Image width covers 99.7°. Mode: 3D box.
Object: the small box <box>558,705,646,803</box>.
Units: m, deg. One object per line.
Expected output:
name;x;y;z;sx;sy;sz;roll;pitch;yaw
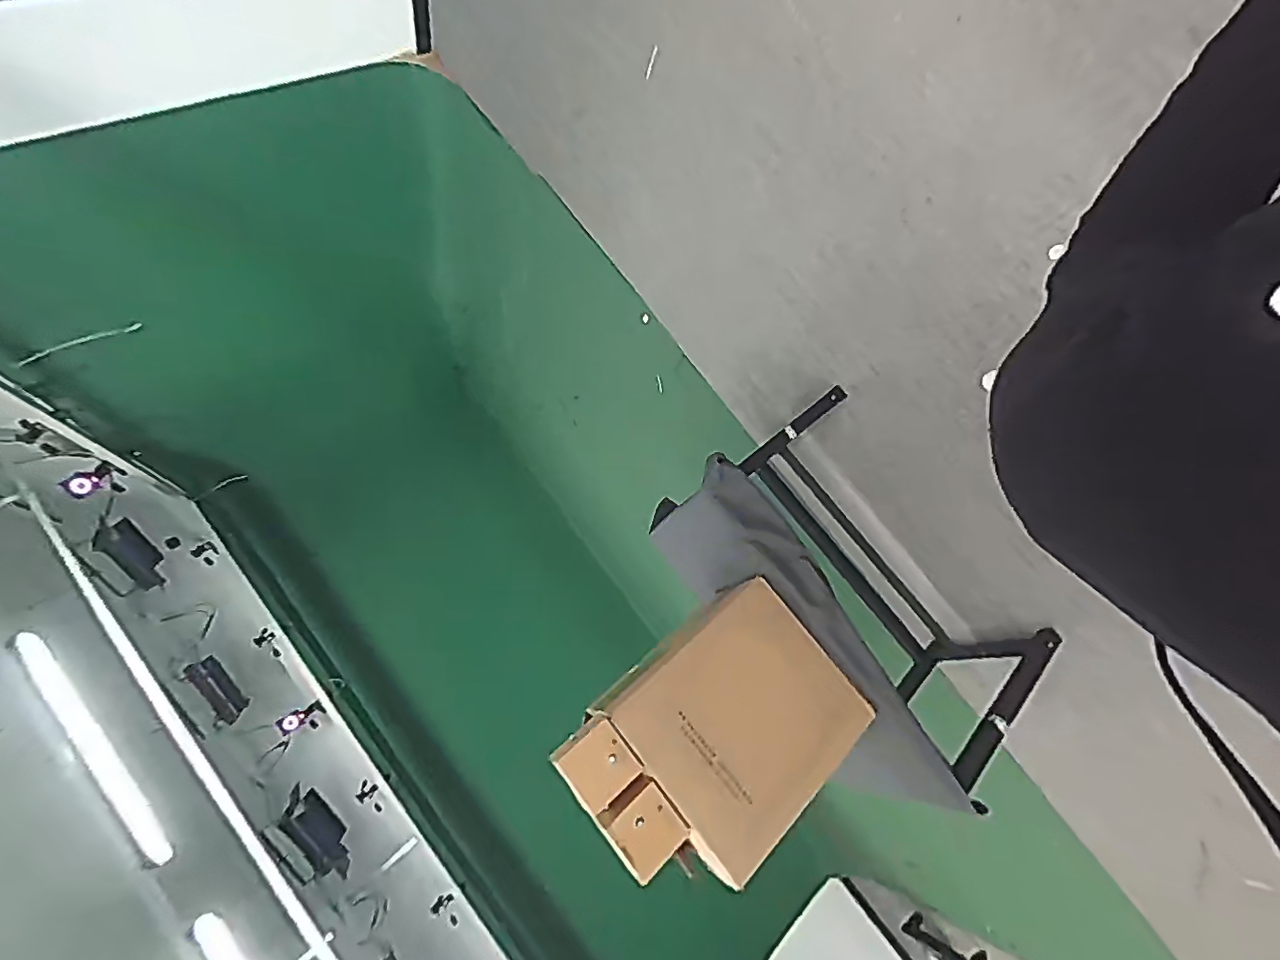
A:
small box;-0.105;0.743;1.488;0.168;0.176;0.179;51;155;8
